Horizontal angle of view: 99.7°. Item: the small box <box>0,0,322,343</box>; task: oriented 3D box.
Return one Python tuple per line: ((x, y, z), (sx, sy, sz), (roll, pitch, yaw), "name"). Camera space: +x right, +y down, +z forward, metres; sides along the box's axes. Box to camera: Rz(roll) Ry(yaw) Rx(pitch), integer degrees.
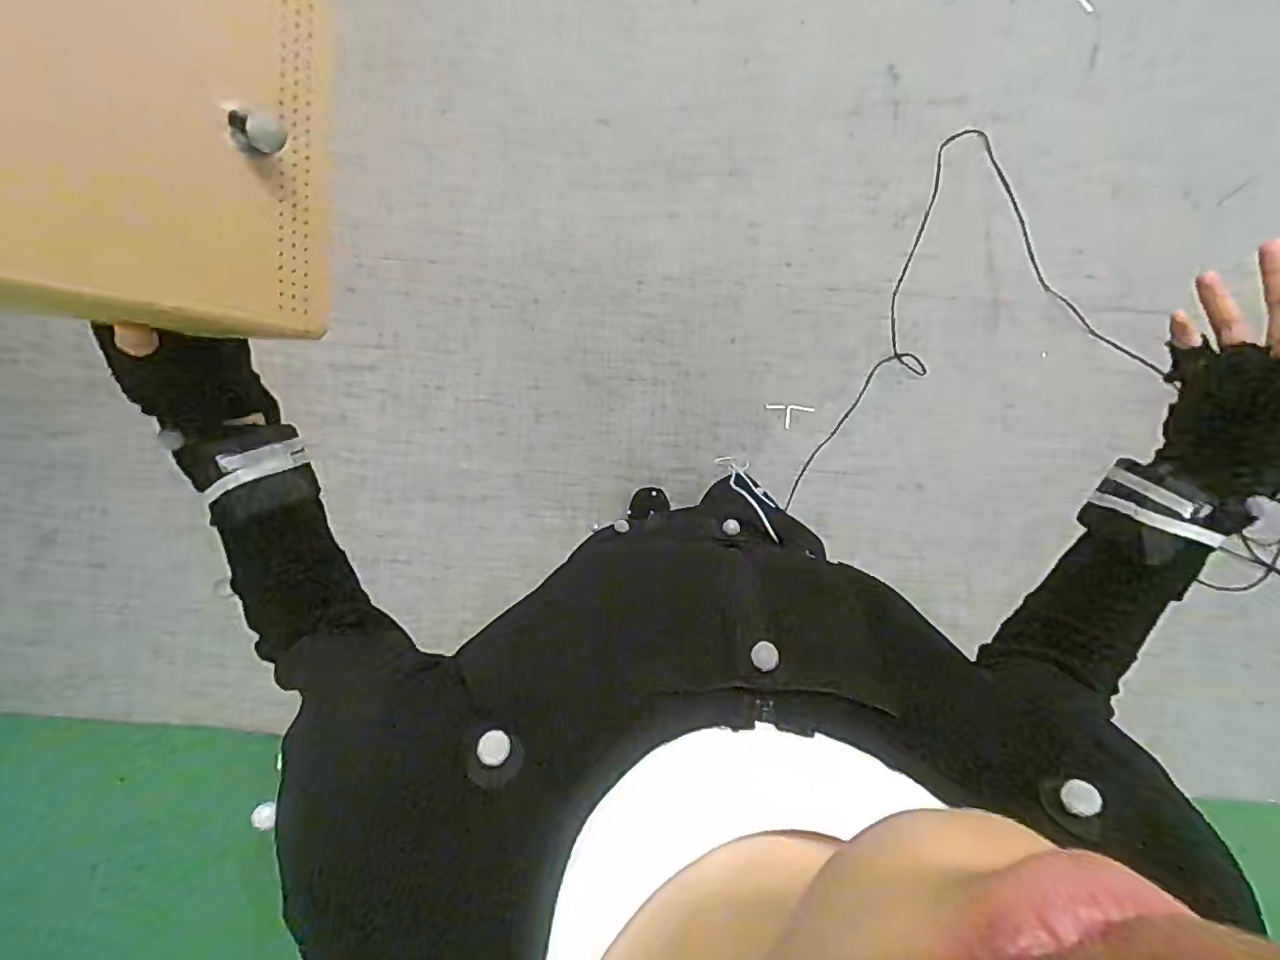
((-0.270, -0.166, 0.238), (0.168, 0.176, 0.179), (8, 97, 23), "small box")
